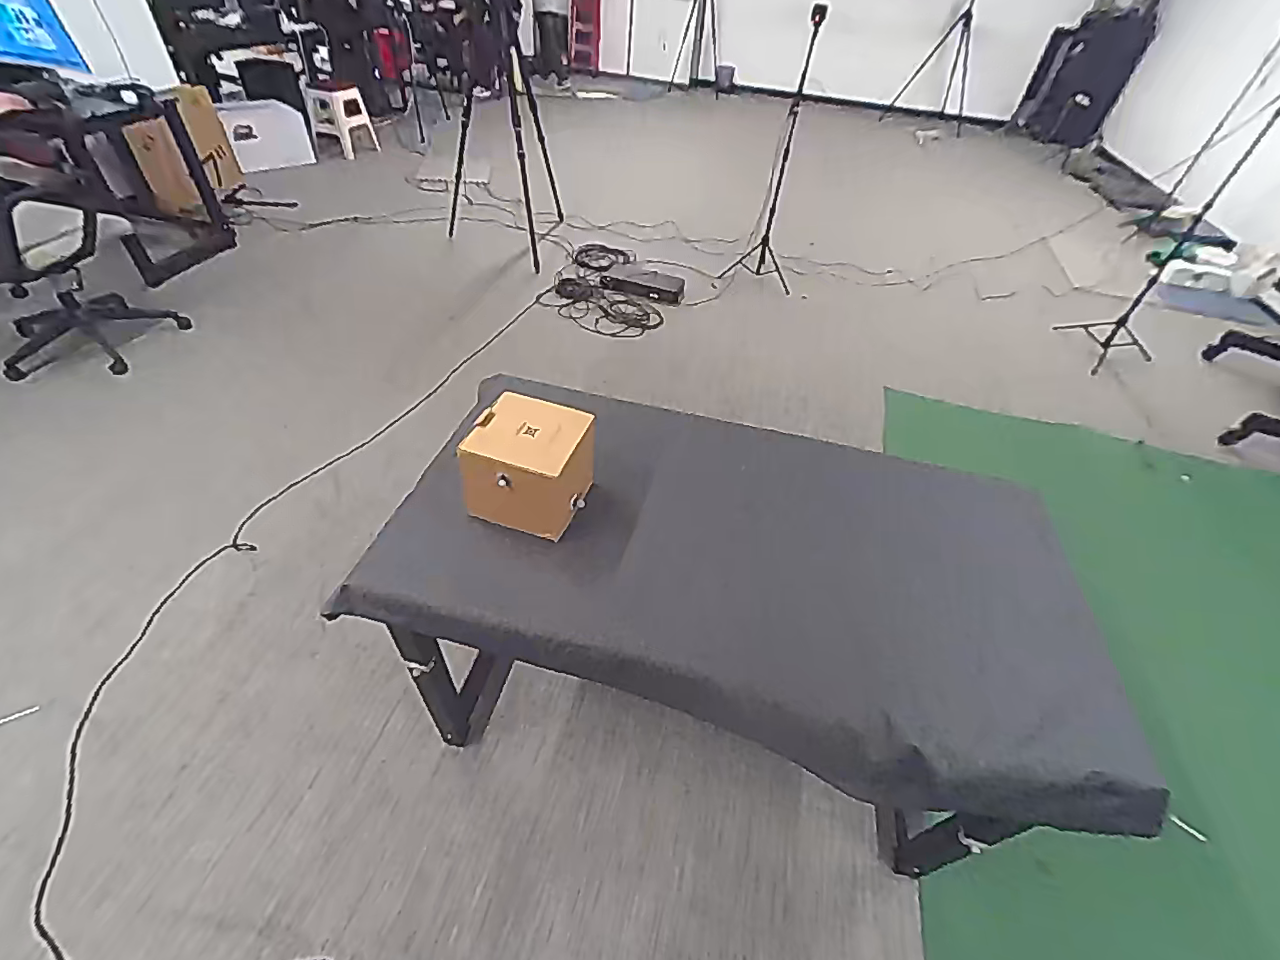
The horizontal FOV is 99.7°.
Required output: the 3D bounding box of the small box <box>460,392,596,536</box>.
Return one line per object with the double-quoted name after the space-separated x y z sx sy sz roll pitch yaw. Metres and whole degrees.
-0.189 -0.025 0.955 0.179 0.176 0.168 17 47 8 "small box"
